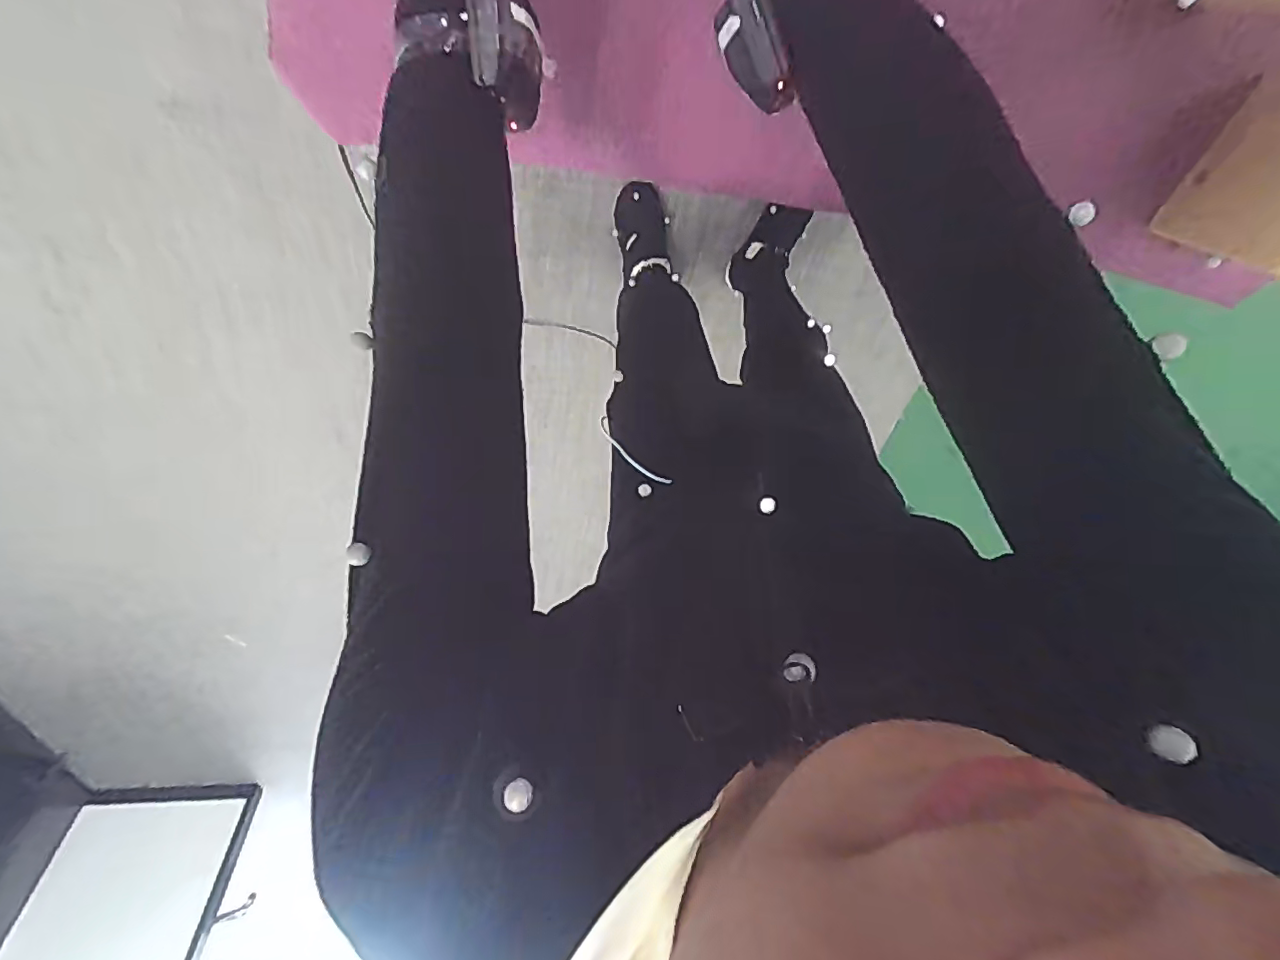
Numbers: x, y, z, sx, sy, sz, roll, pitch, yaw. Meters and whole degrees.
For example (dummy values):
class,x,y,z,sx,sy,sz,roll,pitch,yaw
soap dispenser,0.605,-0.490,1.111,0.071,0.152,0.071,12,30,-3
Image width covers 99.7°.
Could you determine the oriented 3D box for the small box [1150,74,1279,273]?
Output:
class,x,y,z,sx,sy,sz,roll,pitch,yaw
small box,0.745,-0.322,0.592,0.179,0.176,0.168,8,129,-14
